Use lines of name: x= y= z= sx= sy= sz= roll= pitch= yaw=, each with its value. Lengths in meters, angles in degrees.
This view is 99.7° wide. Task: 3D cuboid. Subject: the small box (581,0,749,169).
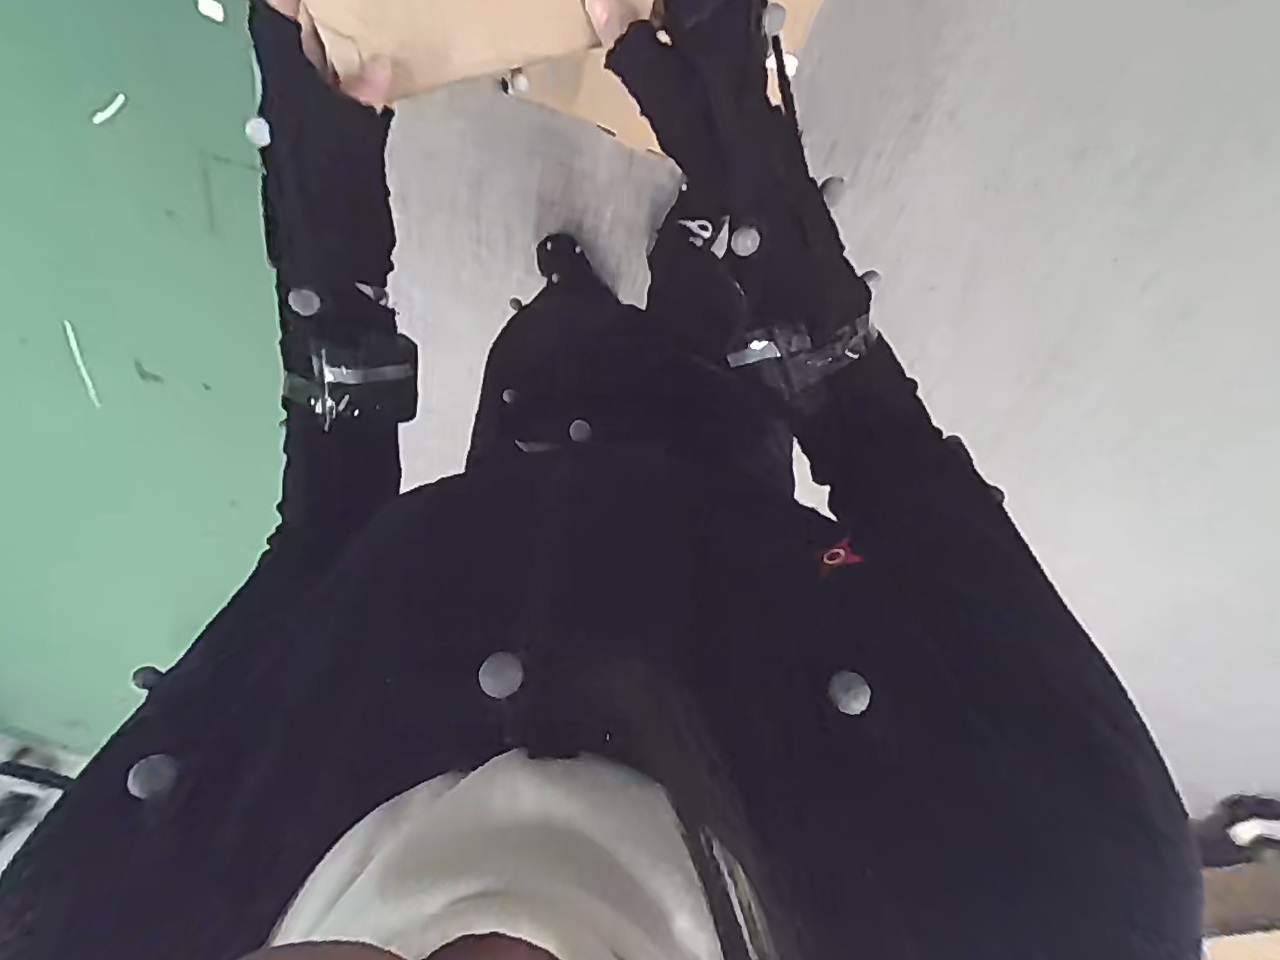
small box: x=0.037 y=-0.553 z=0.723 sx=0.168 sy=0.176 sz=0.179 roll=21 pitch=129 yaw=-5

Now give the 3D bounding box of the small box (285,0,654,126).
small box: x=-0.093 y=-0.320 z=0.291 sx=0.179 sy=0.176 sz=0.168 roll=-9 pitch=131 yaw=11
